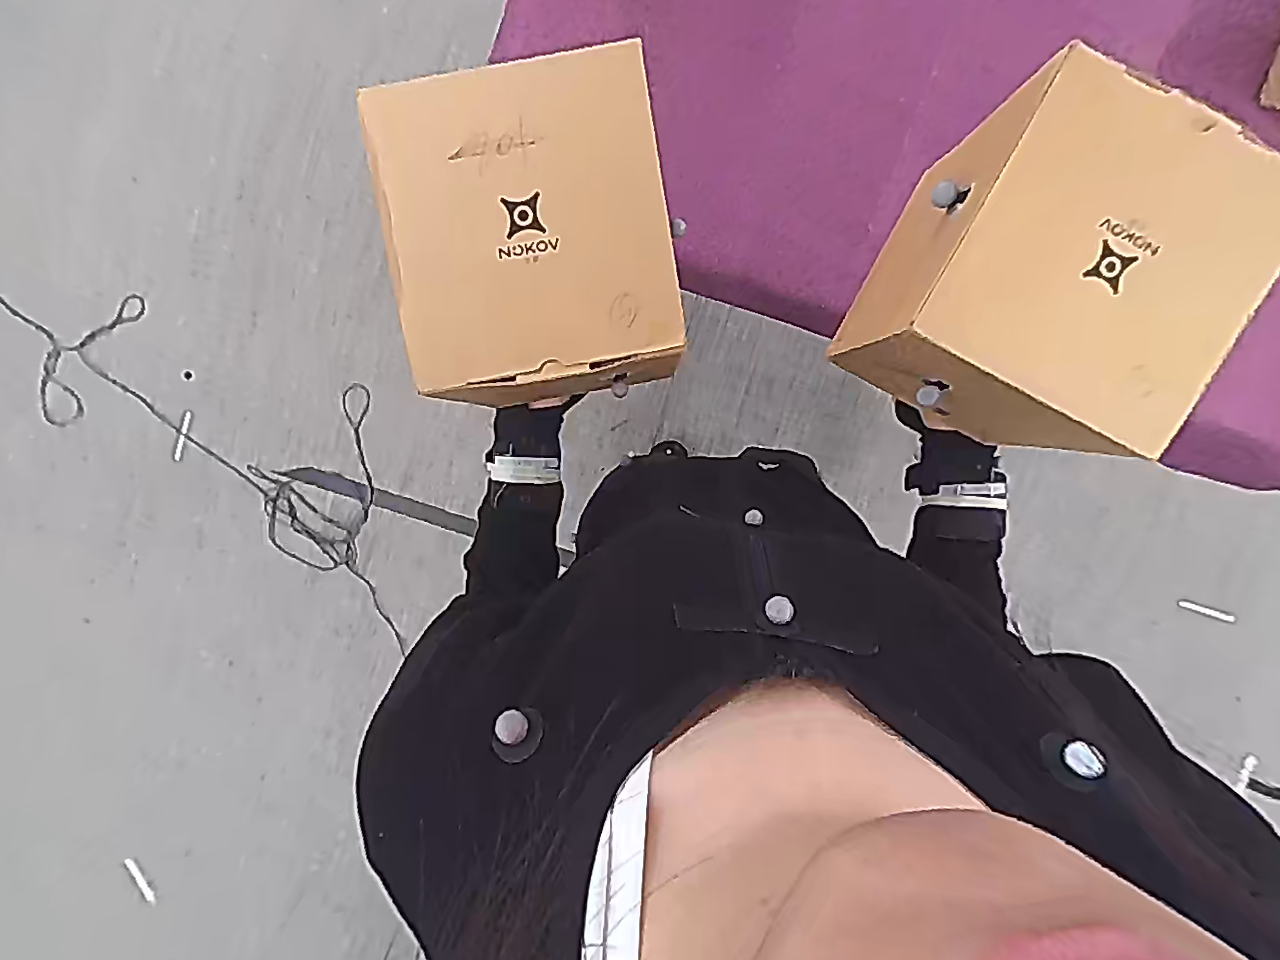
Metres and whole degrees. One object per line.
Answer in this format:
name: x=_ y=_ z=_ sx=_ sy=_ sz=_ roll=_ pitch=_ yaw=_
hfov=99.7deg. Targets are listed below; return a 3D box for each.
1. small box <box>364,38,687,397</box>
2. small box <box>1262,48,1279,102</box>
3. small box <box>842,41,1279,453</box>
small box: x=-0.063 y=-0.158 z=0.392 sx=0.168 sy=0.176 sz=0.179 roll=-10 pitch=94 yaw=0
small box: x=0.919 y=-0.550 z=0.631 sx=0.179 sy=0.176 sz=0.168 roll=18 pitch=95 yaw=-1
small box: x=0.270 y=-0.135 z=0.385 sx=0.168 sy=0.176 sz=0.179 roll=28 pitch=96 yaw=-1
